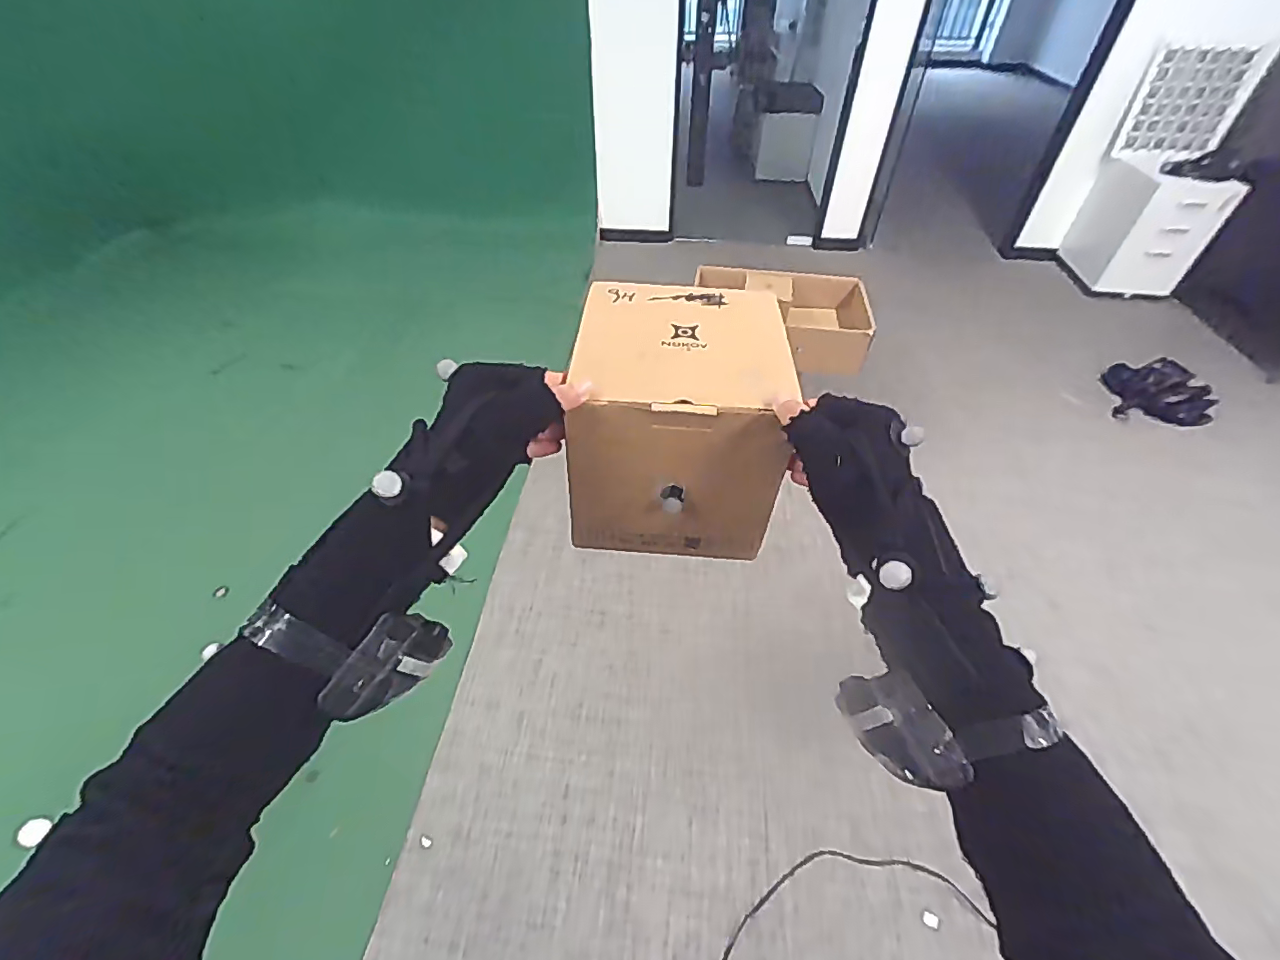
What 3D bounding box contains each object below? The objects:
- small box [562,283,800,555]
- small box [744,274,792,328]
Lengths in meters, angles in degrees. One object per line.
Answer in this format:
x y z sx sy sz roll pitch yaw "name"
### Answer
0.031 -0.052 0.479 0.168 0.176 0.179 5 46 0 "small box"
0.454 -0.629 1.976 0.168 0.176 0.179 10 44 5 "small box"
